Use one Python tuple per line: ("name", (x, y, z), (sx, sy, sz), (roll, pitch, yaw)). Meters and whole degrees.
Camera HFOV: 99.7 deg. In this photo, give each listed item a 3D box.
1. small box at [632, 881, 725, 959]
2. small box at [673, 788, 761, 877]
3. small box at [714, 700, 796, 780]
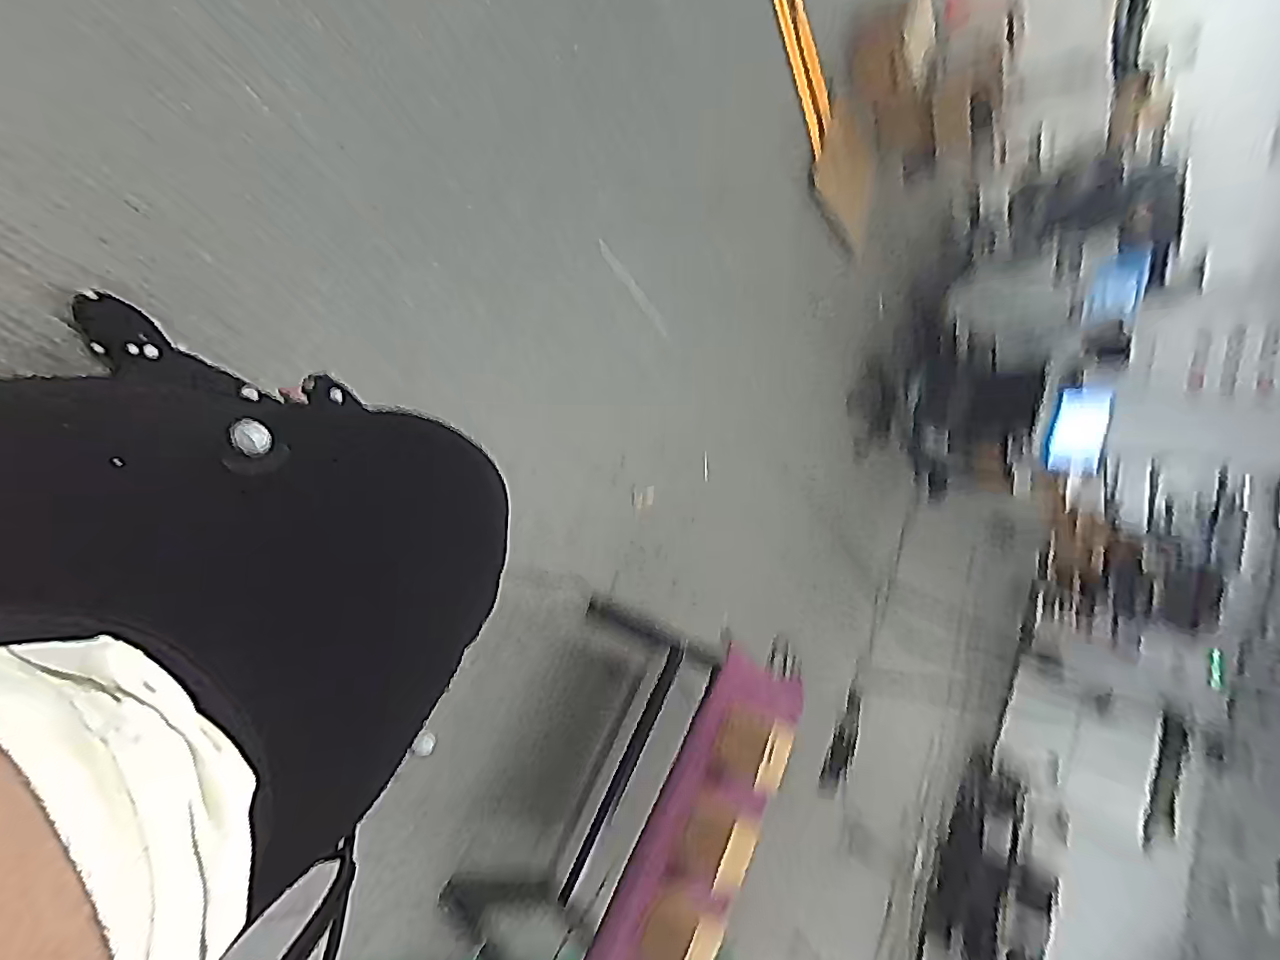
("small box", (0.112, 1.306, 1.573), (0.179, 0.176, 0.168), (44, 68, -41))
("small box", (0.234, 1.068, 1.644), (0.179, 0.176, 0.168), (41, 69, -40))
("small box", (0.360, 0.819, 1.709), (0.179, 0.176, 0.168), (37, 73, -44))
